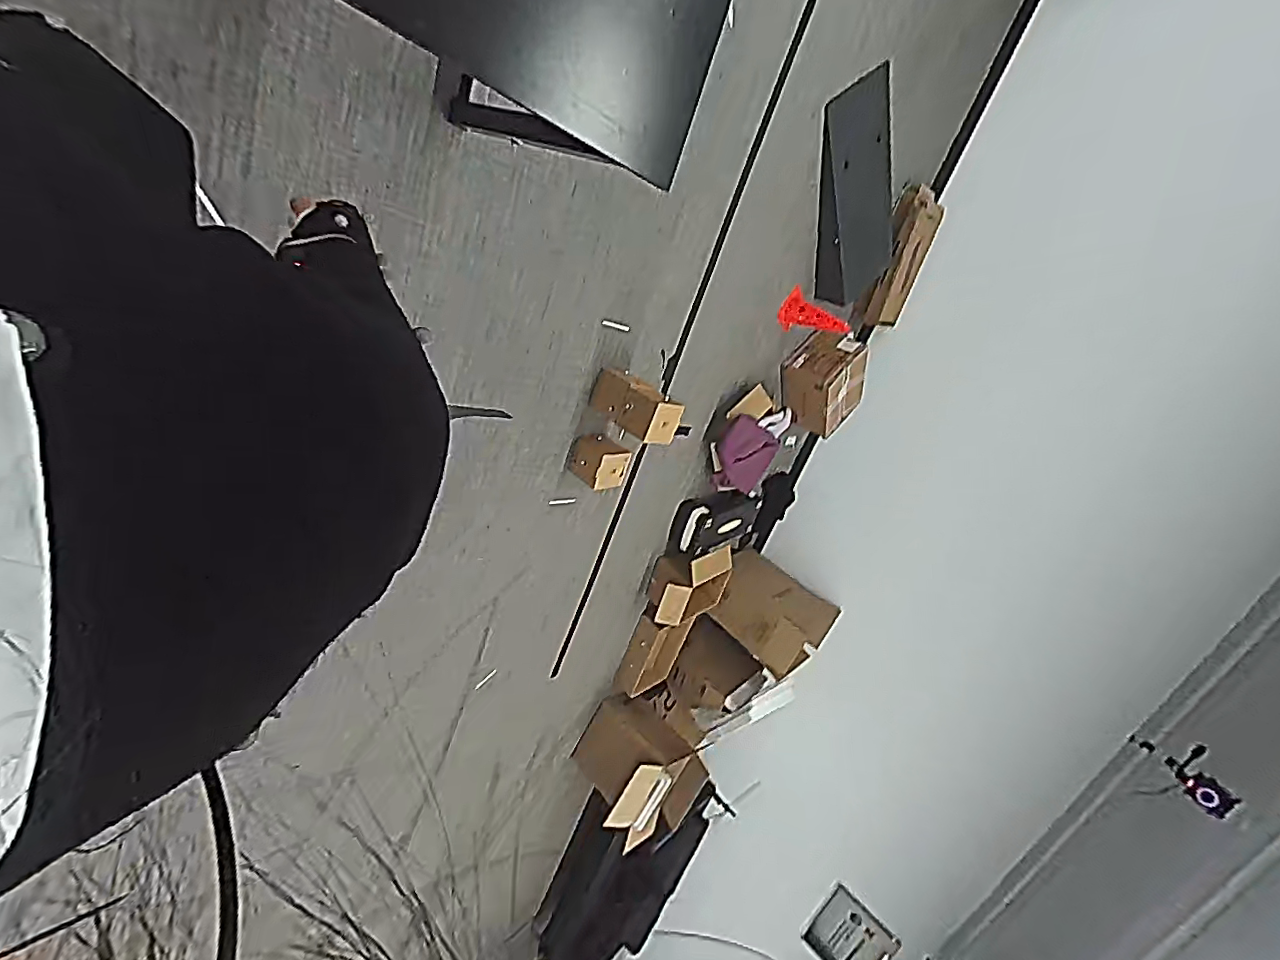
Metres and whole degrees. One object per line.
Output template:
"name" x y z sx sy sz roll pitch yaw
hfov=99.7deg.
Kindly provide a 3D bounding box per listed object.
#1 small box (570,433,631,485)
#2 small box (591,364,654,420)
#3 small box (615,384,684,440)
"small box" -0.174 -0.093 2.317 0.179 0.176 0.168 -7 125 -48
"small box" -0.078 -0.352 2.205 0.168 0.176 0.179 -2 120 -51
"small box" 0.034 -0.267 2.123 0.179 0.176 0.168 -3 120 -49
